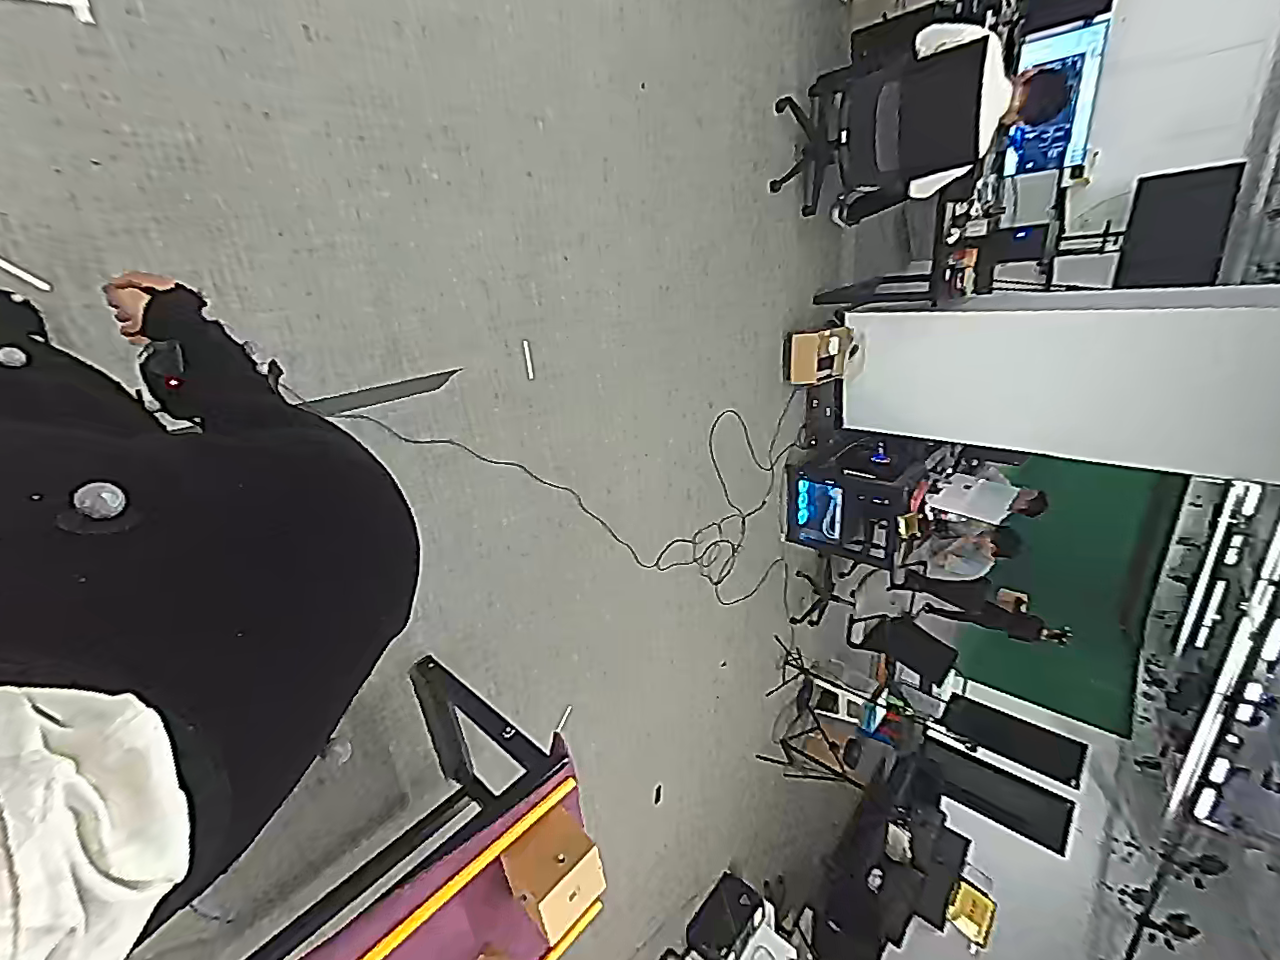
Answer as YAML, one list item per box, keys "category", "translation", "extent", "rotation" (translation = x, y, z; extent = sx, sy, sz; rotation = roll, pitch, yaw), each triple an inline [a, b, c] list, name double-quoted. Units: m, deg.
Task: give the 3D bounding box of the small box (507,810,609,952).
- category: "small box"
  translation: [-0.203, 0.959, 1.309]
  extent: [0.179, 0.176, 0.168]
  rotation: [-28, 120, -39]
